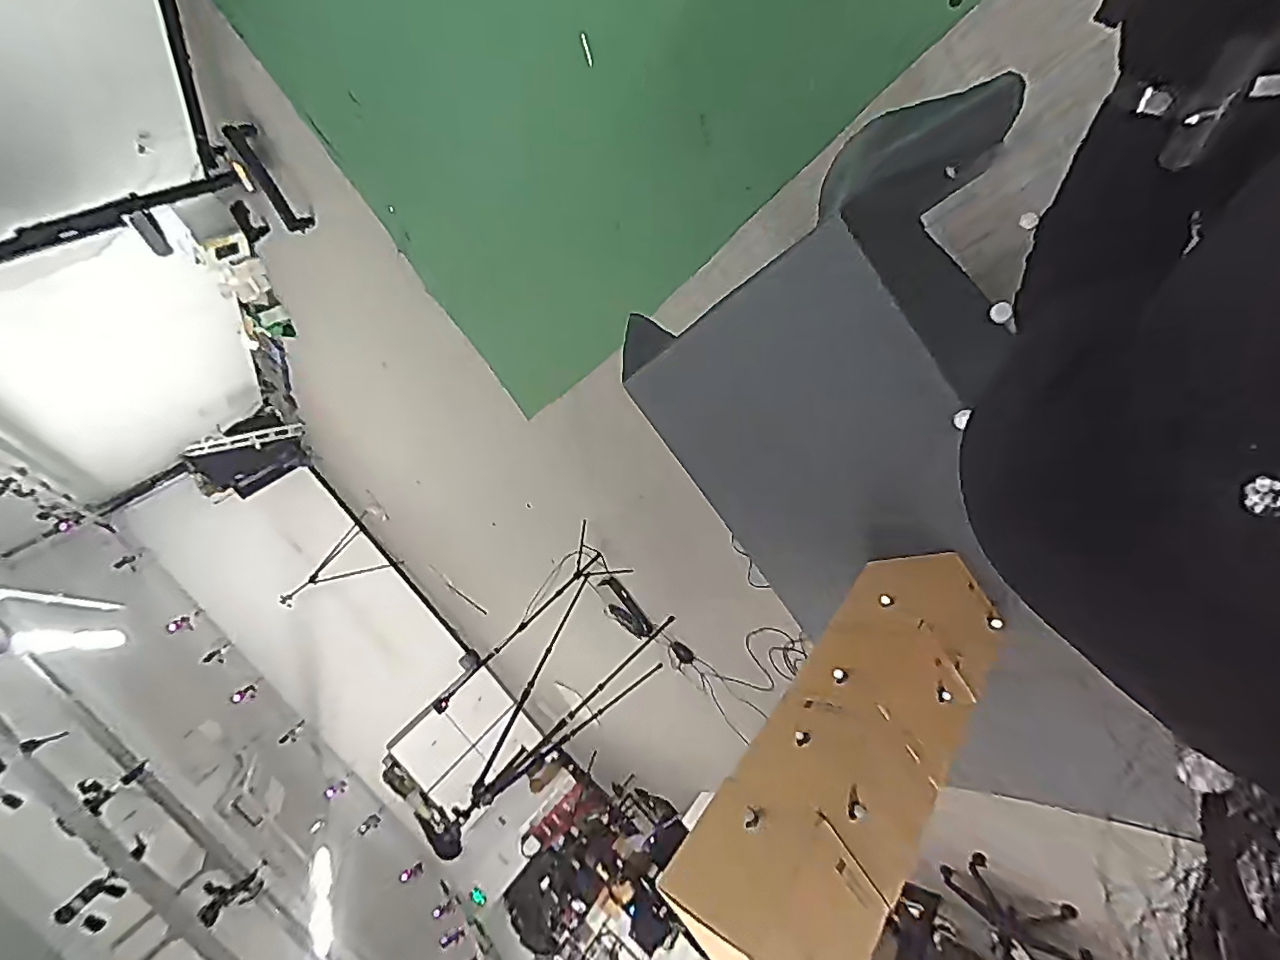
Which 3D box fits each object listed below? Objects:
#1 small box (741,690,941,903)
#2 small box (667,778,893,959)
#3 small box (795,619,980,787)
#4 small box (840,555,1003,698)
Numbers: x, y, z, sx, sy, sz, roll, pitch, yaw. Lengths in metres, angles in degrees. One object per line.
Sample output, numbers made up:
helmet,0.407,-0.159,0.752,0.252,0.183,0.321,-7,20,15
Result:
small box,0.283,0.424,0.761,0.179,0.176,0.168,55,148,-8
small box,0.174,0.511,0.674,0.168,0.176,0.179,55,148,-9
small box,0.388,0.335,0.851,0.168,0.176,0.179,54,148,-7
small box,0.493,0.246,0.937,0.168,0.176,0.179,53,149,-7
